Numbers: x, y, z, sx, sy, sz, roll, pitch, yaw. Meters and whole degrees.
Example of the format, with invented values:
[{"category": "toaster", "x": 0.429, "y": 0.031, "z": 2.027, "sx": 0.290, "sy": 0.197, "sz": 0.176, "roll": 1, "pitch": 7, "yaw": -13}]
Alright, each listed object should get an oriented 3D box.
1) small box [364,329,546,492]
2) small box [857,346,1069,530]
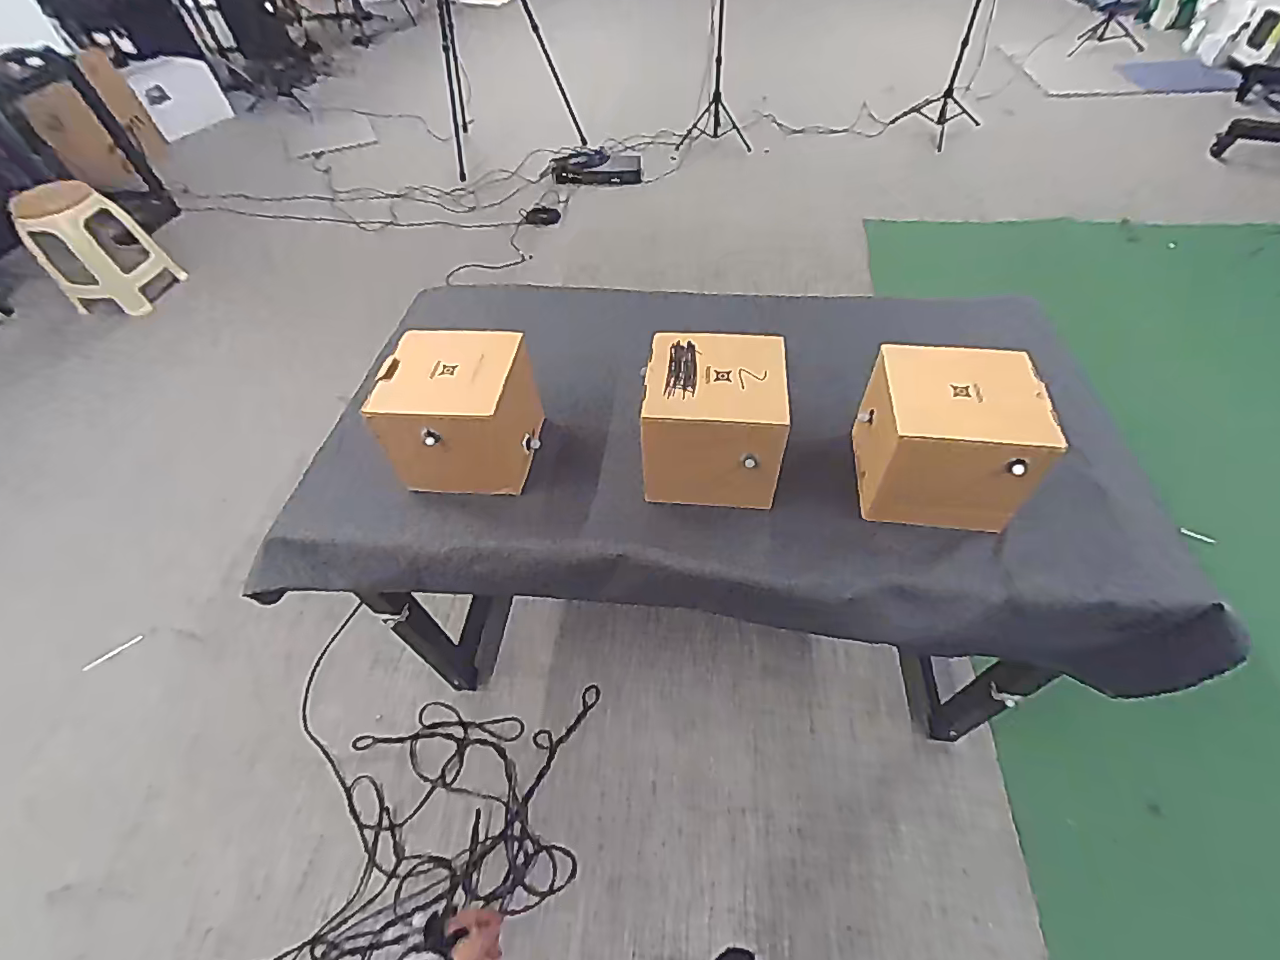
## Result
[{"category": "small box", "x": -0.248, "y": -0.096, "z": 0.775, "sx": 0.179, "sy": 0.176, "sz": 0.168, "roll": 3, "pitch": 53, "yaw": 5}, {"category": "small box", "x": 0.388, "y": -0.051, "z": 0.695, "sx": 0.179, "sy": 0.176, "sz": 0.168, "roll": 5, "pitch": 52, "yaw": 8}]
